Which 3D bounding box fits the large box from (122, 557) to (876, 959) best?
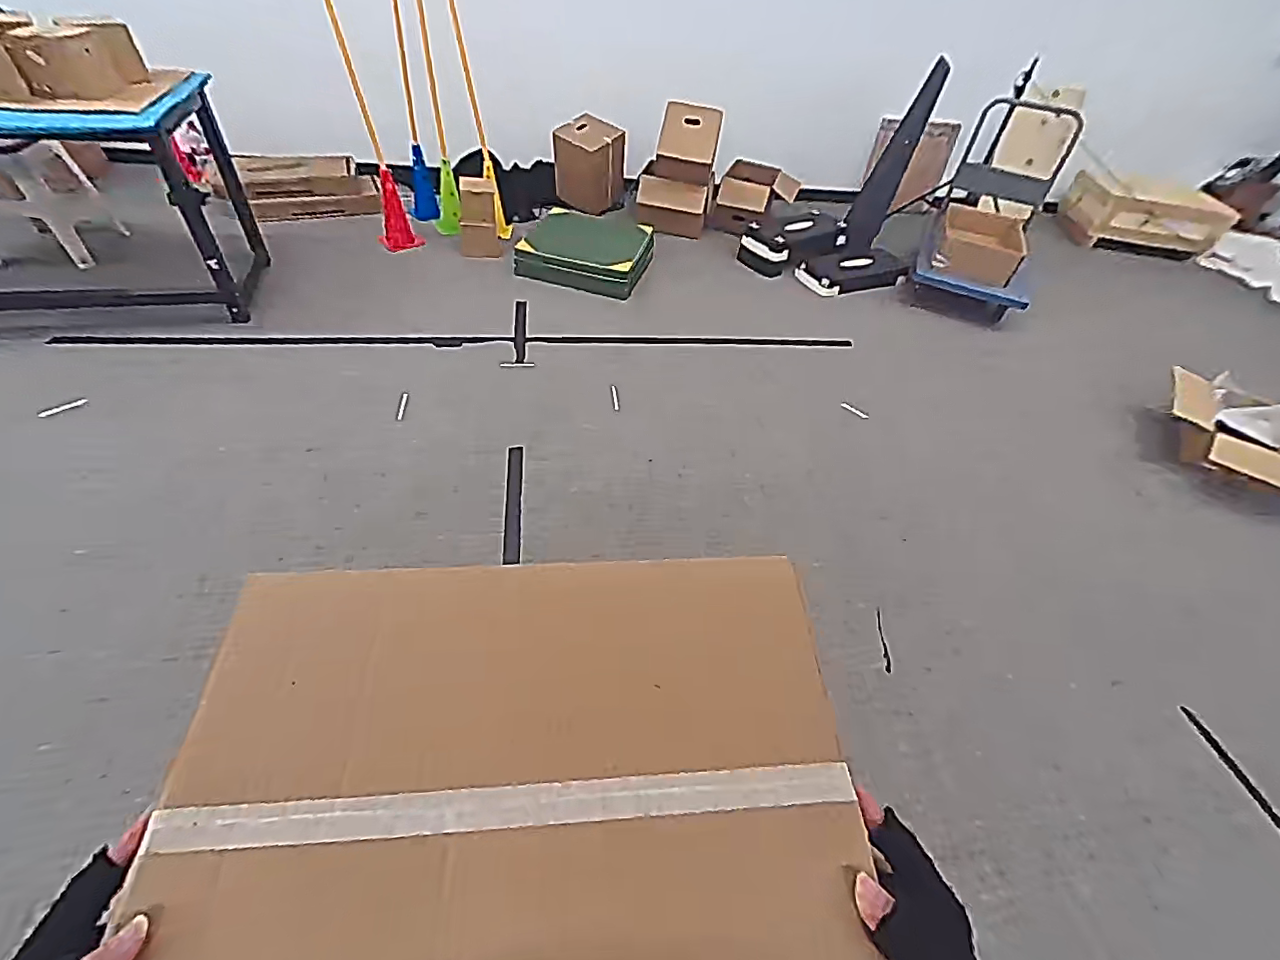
[{"bbox_3d":[-0.080,0.279,0.454,0.408,0.320,0.320,-1,54,-4],"label":"large box"}]
